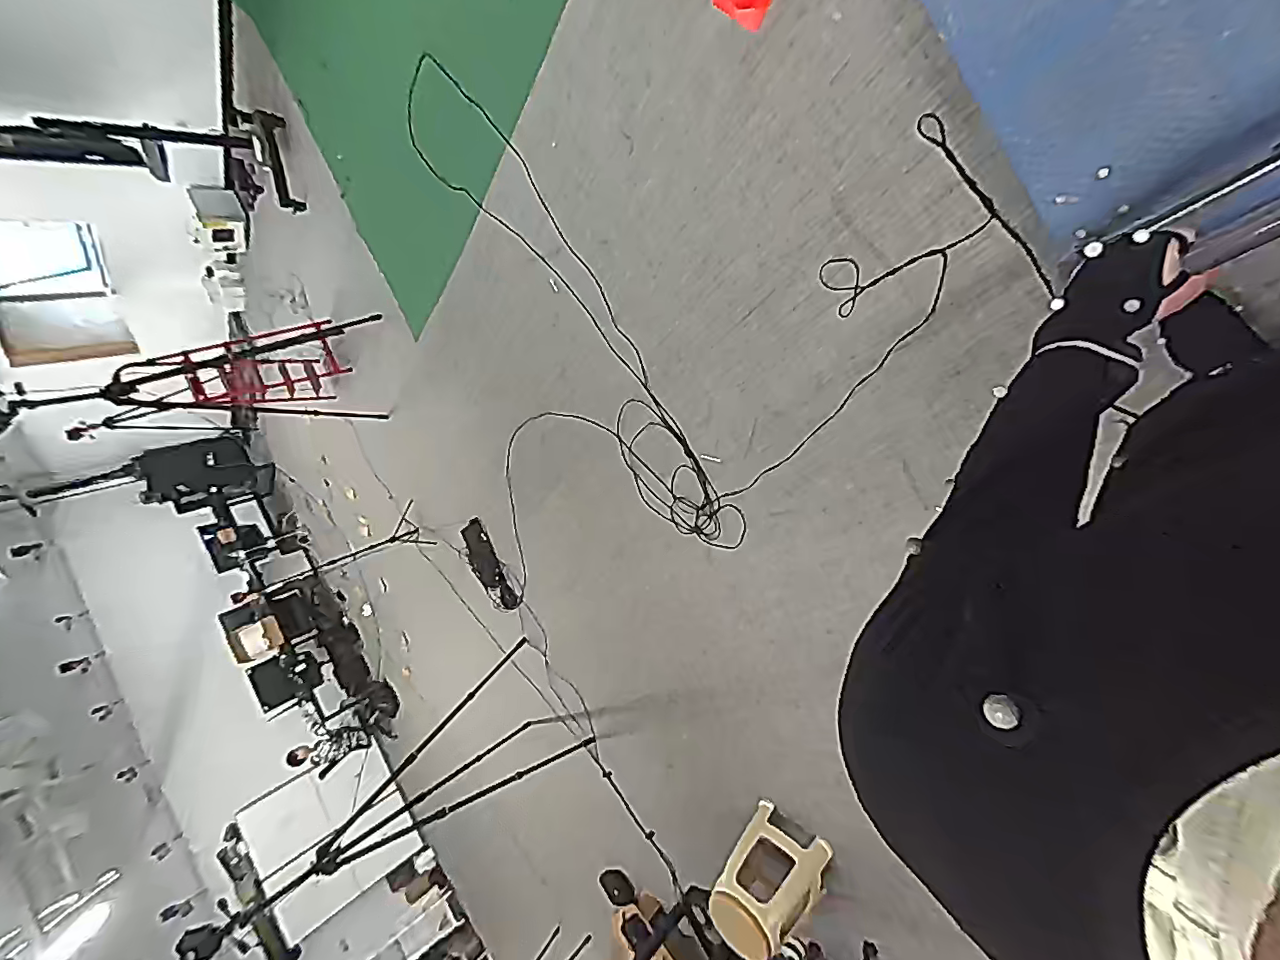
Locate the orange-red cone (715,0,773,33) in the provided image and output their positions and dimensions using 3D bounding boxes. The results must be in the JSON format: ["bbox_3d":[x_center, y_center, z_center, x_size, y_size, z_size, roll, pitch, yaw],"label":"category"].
[{"bbox_3d":[0.193,-1.344,1.392,0.198,0.360,0.199,51,137,18],"label":"orange-red cone"}]
